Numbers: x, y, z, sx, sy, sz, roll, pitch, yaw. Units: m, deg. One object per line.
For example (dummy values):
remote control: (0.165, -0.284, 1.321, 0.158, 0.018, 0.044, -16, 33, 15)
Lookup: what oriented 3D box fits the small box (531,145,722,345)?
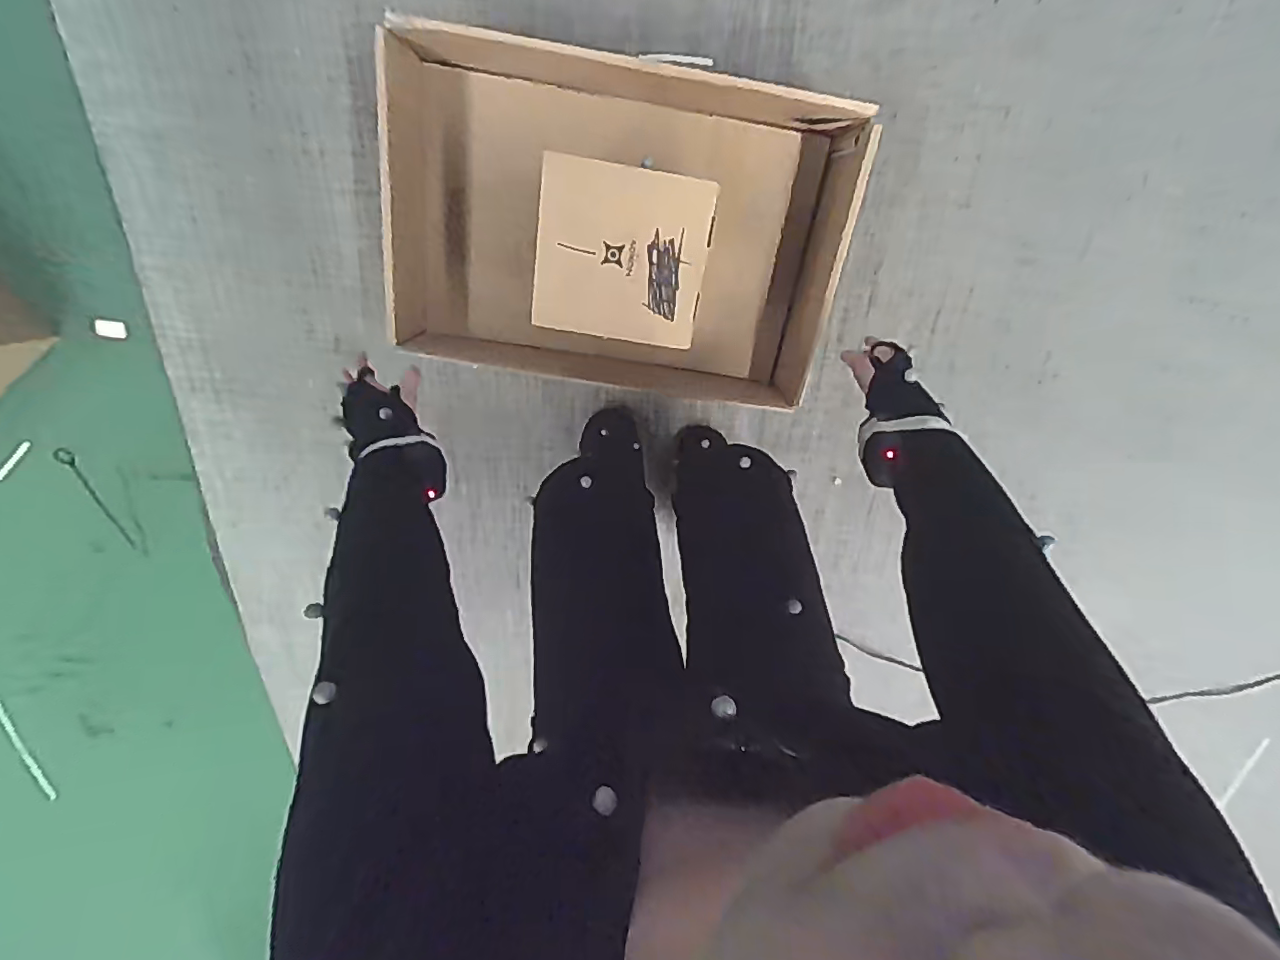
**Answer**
small box: (-0.018, -0.266, 0.620, 0.179, 0.176, 0.168, 8, 115, -4)
